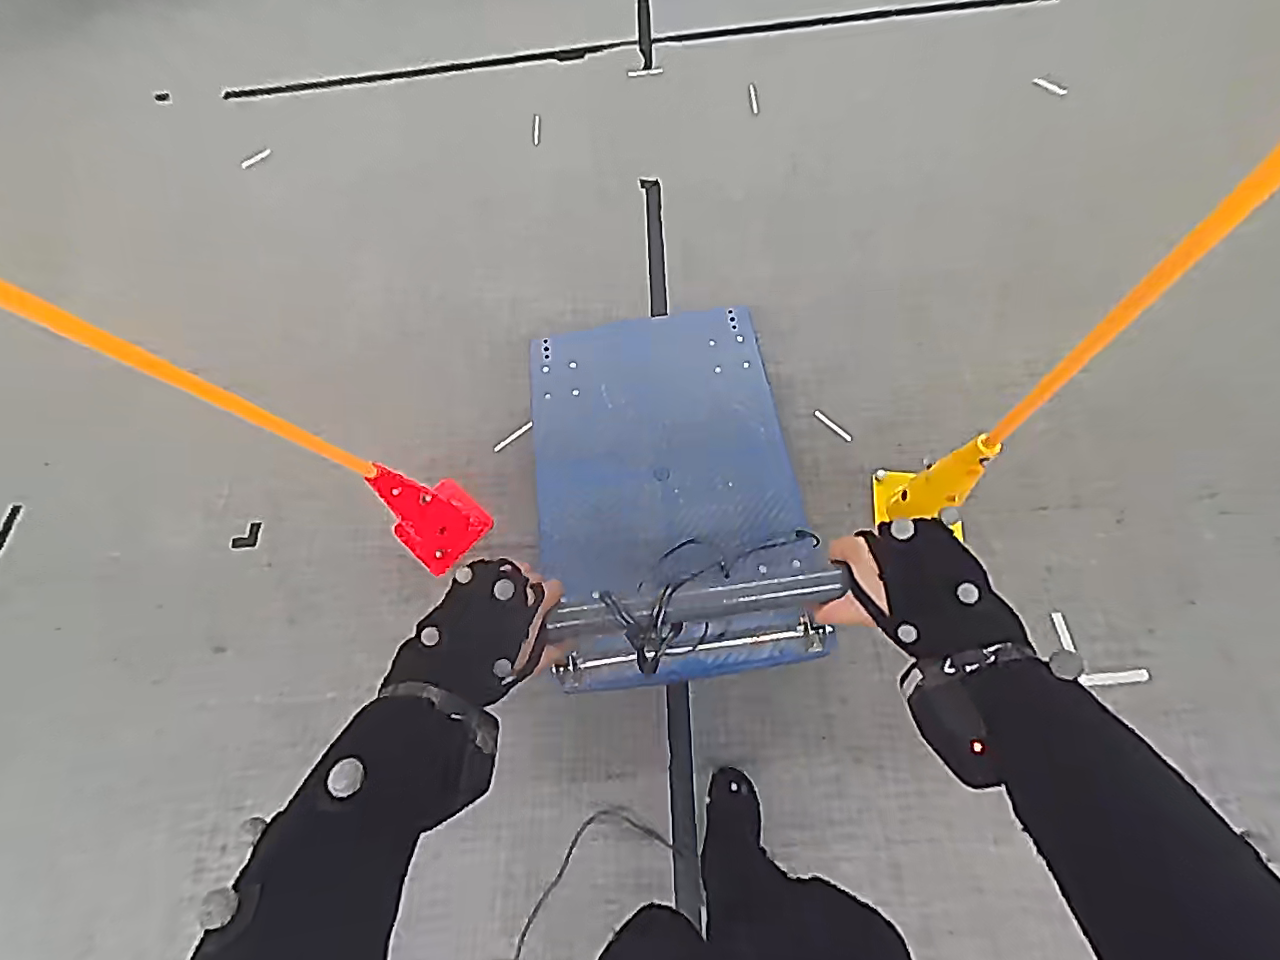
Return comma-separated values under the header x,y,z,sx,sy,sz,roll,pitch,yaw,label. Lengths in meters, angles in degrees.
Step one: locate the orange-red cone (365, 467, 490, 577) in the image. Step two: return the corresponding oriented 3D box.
x,y,z,sx,sy,sz,roll,pitch,yaw,label
-0.520,0.058,1.237,0.198,0.360,0.199,40,74,18,orange-red cone
